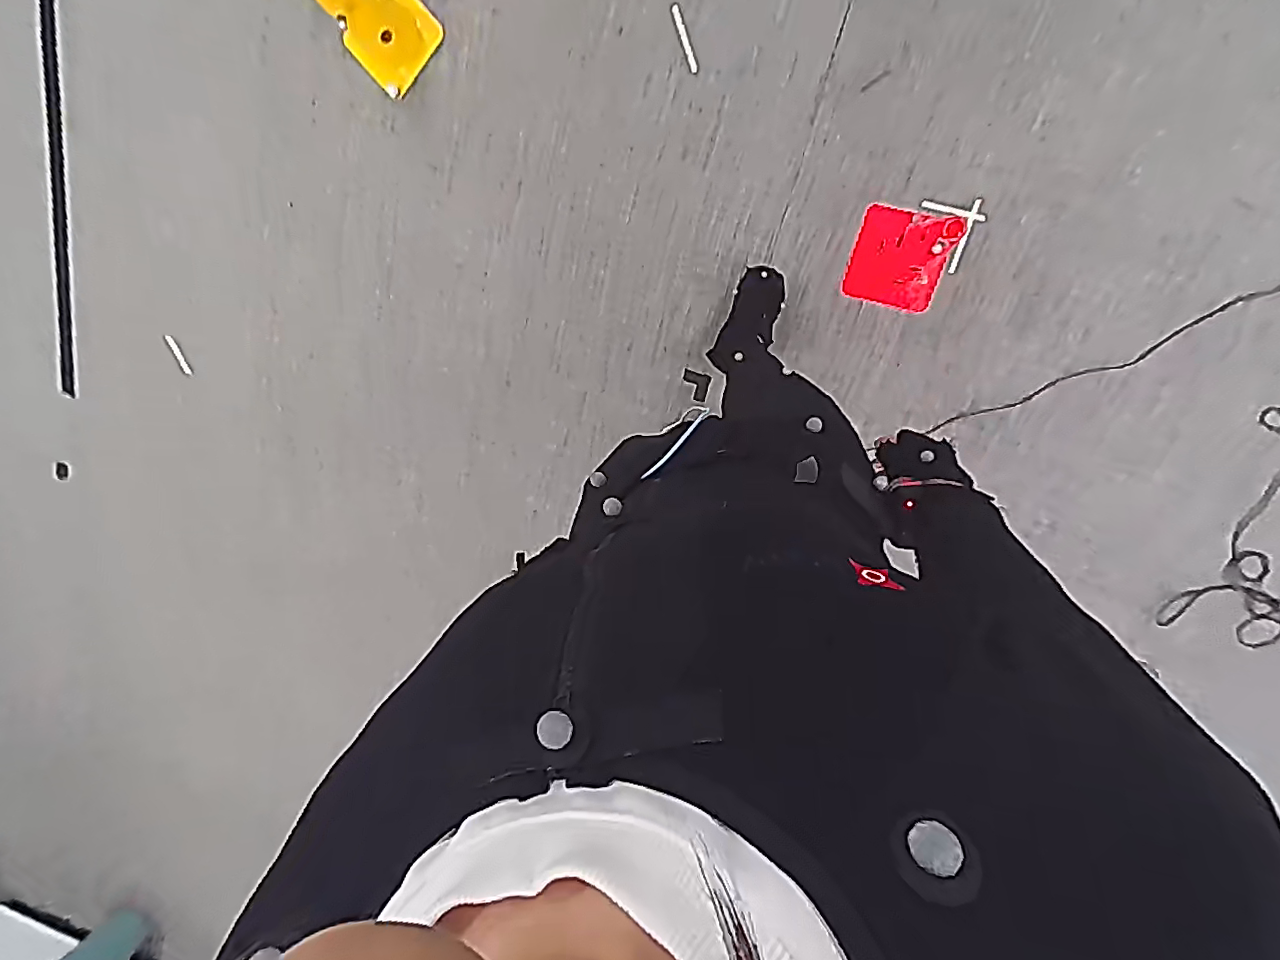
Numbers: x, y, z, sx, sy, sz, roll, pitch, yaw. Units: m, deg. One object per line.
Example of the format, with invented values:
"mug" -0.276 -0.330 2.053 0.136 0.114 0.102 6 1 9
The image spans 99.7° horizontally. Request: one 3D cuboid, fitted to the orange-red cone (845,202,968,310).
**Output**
"orange-red cone" 0.544 -0.458 1.040 0.199 0.360 0.198 18 106 8
